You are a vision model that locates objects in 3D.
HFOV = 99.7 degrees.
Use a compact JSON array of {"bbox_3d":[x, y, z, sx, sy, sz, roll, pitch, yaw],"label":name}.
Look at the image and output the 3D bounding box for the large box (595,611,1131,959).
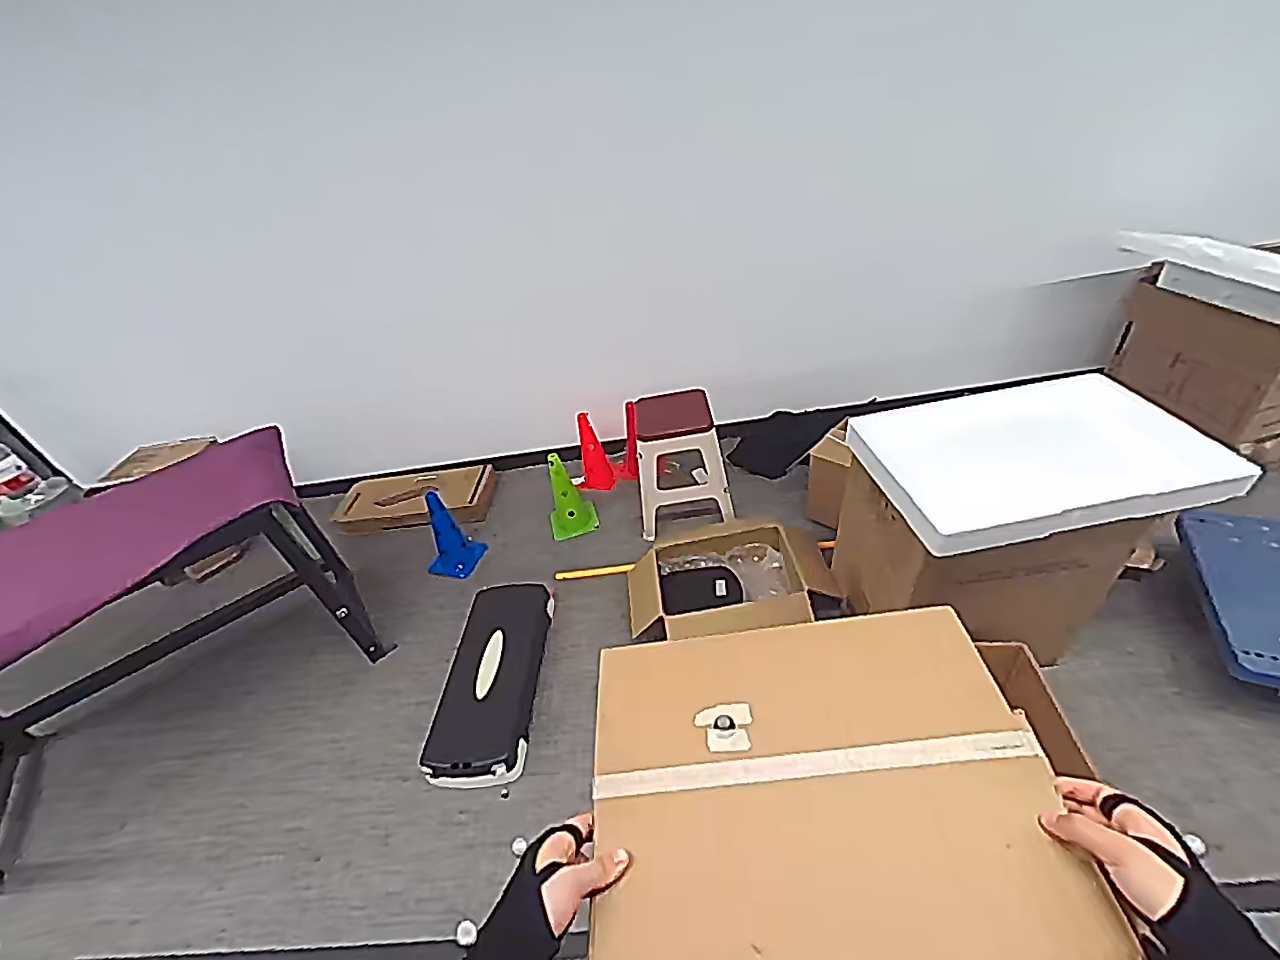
[{"bbox_3d":[0.188,0.392,0.610,0.408,0.320,0.320,-11,38,7],"label":"large box"}]
